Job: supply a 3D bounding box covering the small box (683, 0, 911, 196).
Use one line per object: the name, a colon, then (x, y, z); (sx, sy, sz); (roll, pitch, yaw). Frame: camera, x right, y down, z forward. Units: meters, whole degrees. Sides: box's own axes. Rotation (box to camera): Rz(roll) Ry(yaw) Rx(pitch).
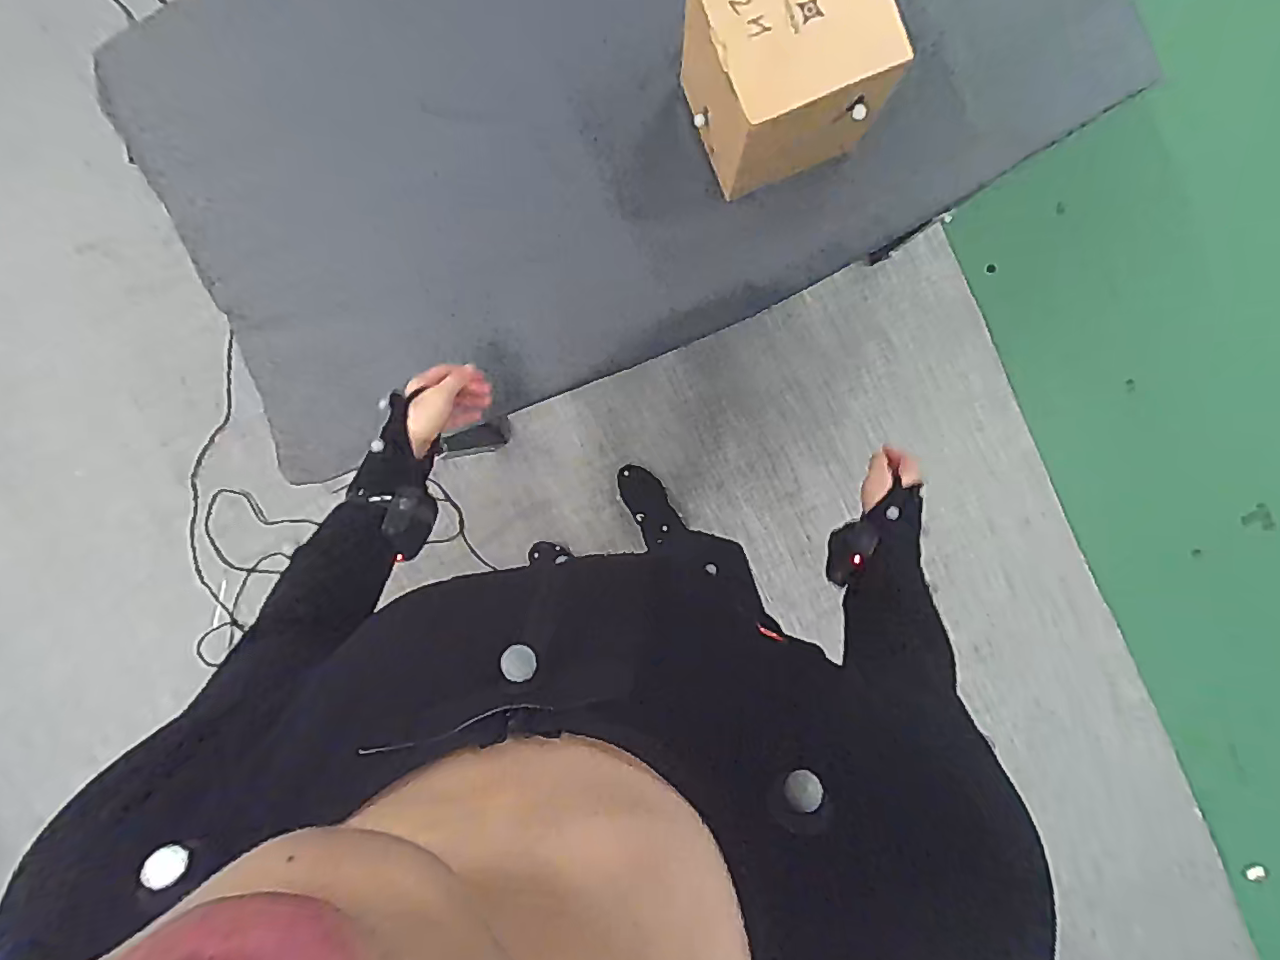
small box: (0.158, -0.457, 0.603); (0.179, 0.176, 0.168); (-21, 93, 4)
